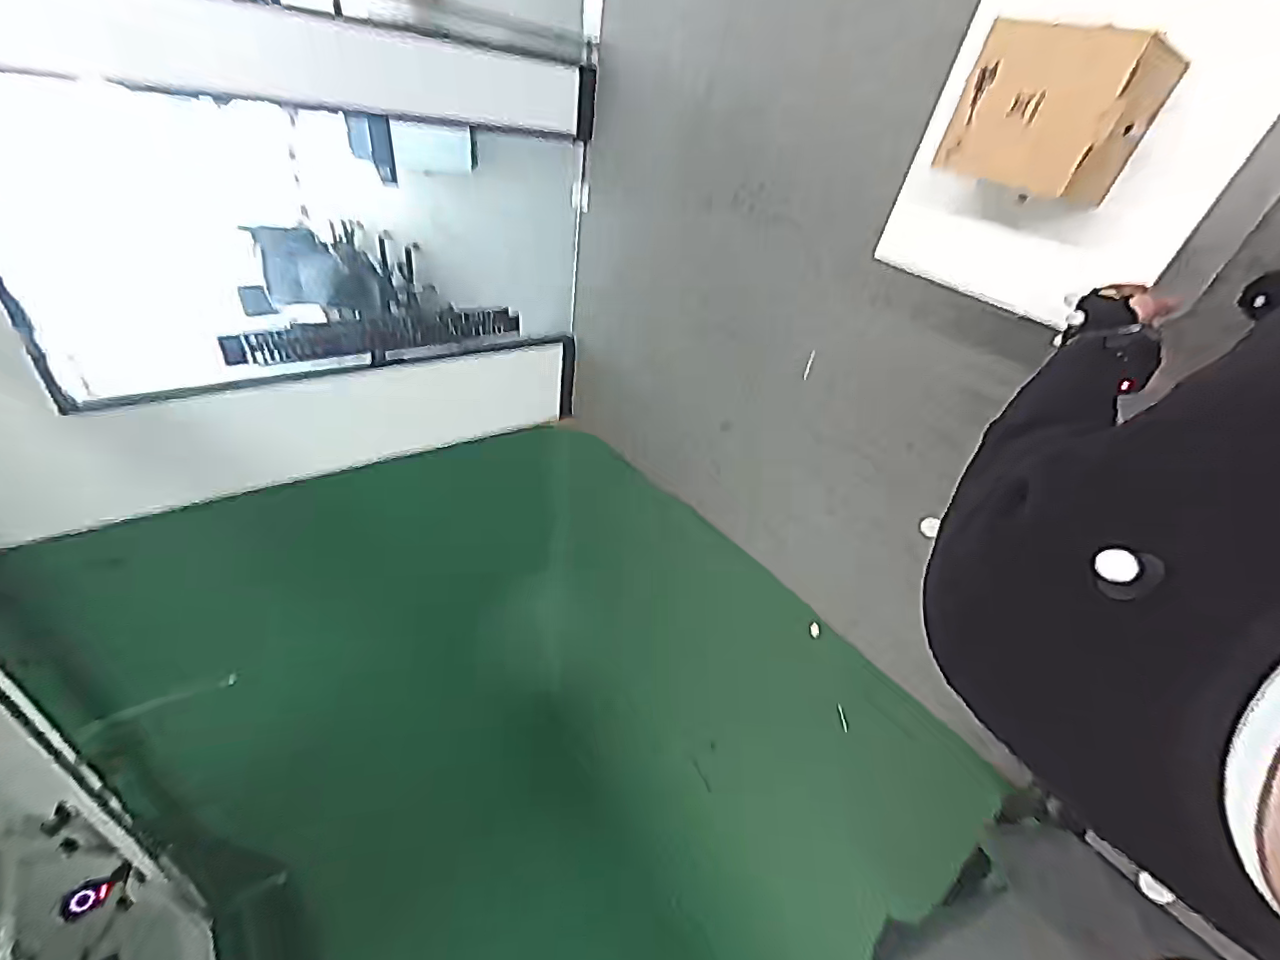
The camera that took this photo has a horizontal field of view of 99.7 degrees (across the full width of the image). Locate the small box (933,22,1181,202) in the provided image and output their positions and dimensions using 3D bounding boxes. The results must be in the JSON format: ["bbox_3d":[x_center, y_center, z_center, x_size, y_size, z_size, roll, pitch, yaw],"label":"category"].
[{"bbox_3d":[0.533,-0.468,0.698,0.179,0.176,0.168,41,136,37],"label":"small box"}]
